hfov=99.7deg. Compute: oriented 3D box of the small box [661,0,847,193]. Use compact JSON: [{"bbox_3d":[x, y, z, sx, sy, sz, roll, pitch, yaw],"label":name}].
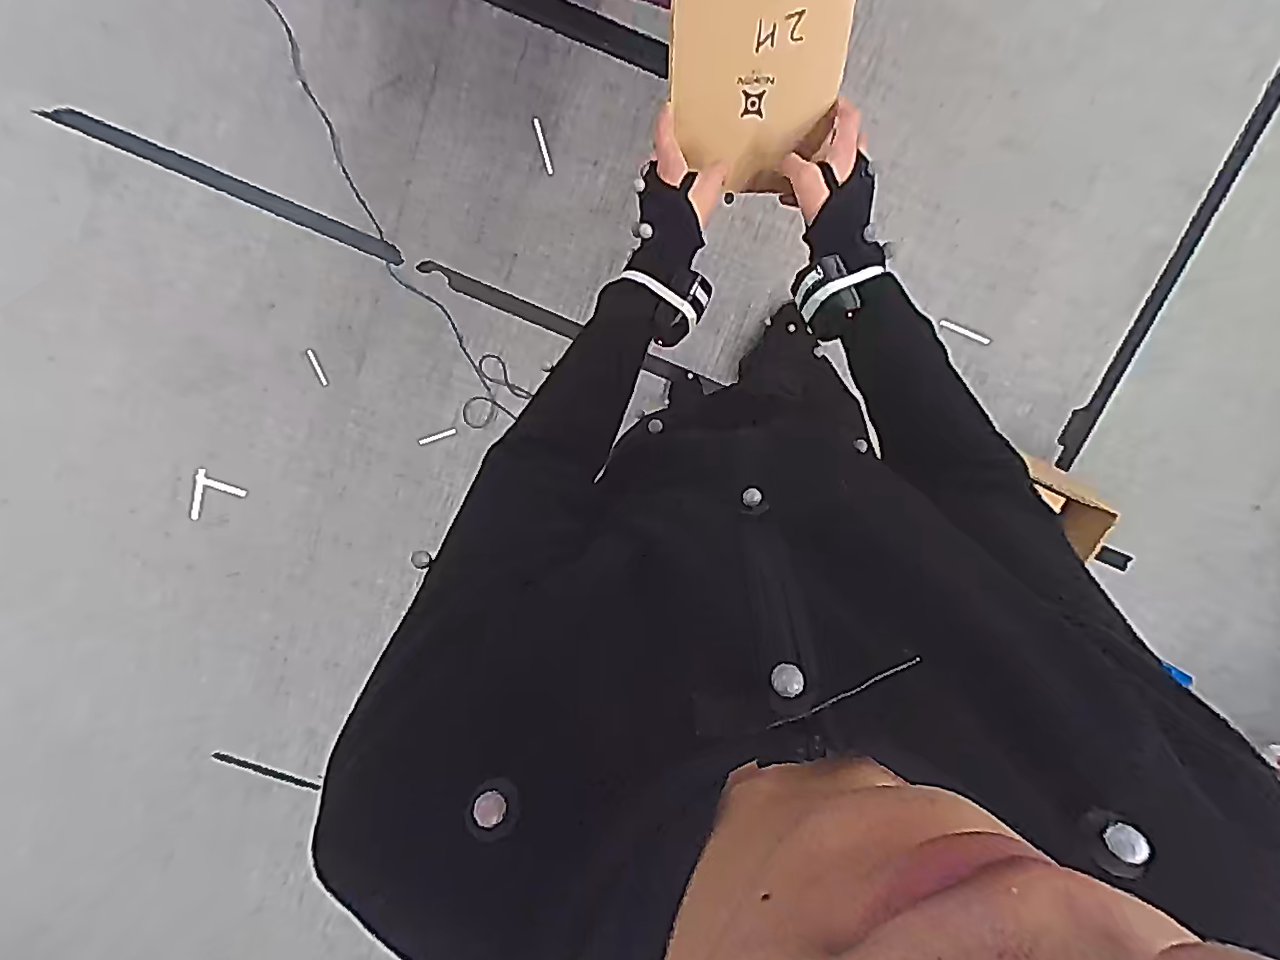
[{"bbox_3d":[0.108,-0.419,0.591,0.168,0.176,0.179,1,120,1],"label":"small box"}]
